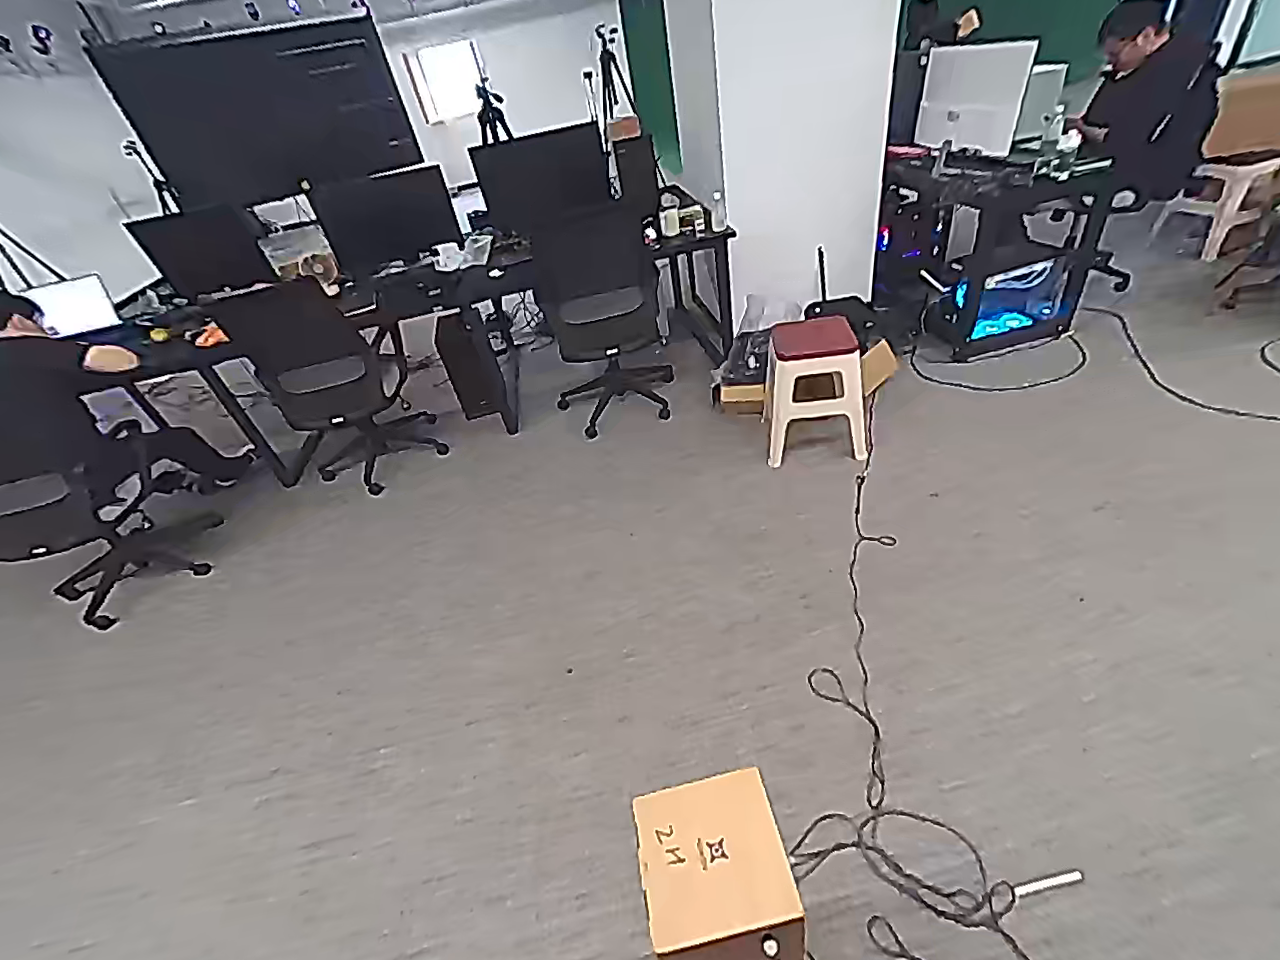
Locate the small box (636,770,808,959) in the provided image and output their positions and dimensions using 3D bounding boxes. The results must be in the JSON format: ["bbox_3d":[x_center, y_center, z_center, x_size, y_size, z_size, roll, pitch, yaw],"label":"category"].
[{"bbox_3d":[0.104,0.513,0.701,0.179,0.176,0.168,-15,36,1],"label":"small box"}]
